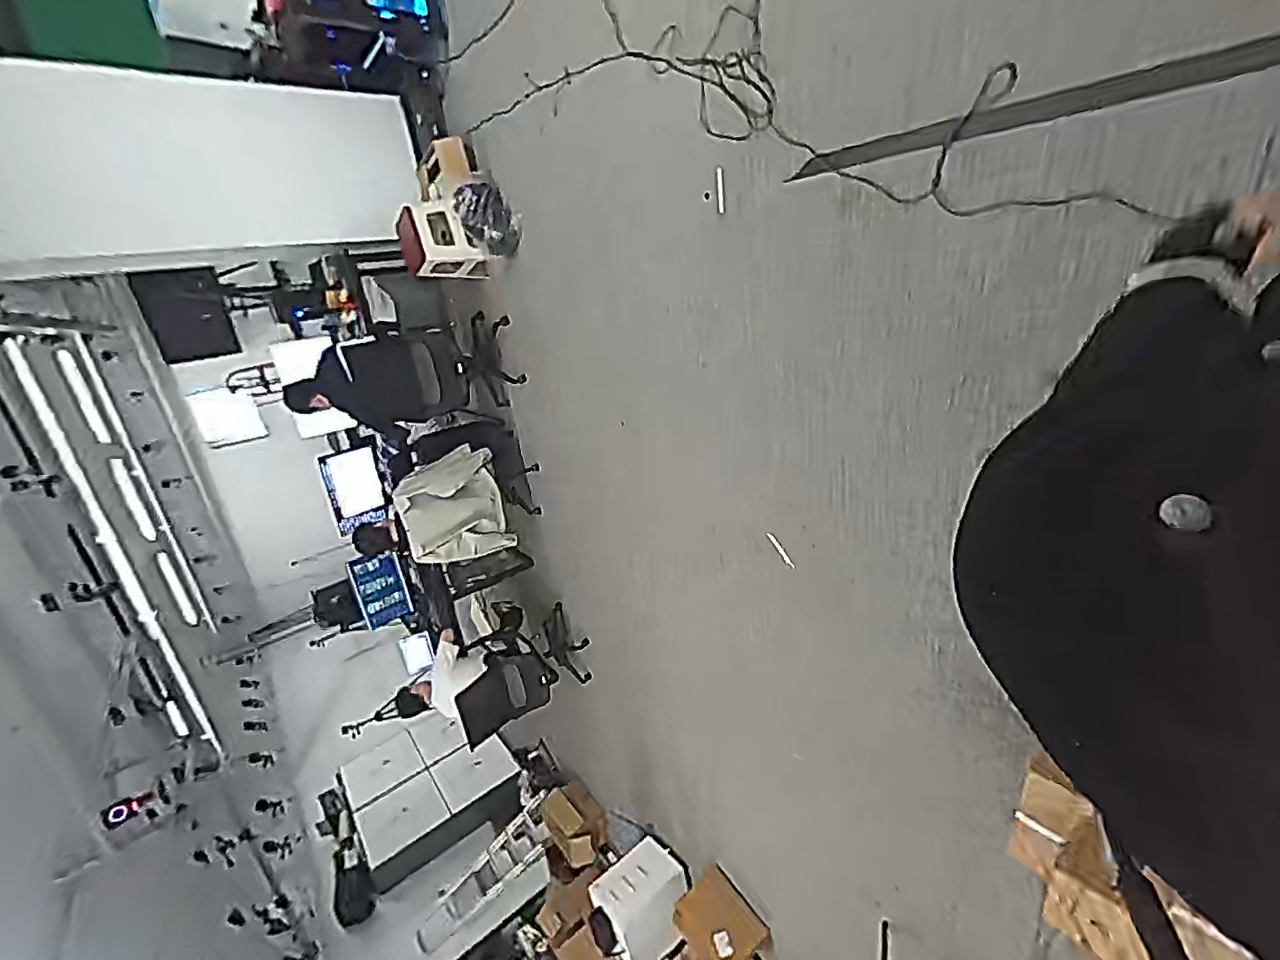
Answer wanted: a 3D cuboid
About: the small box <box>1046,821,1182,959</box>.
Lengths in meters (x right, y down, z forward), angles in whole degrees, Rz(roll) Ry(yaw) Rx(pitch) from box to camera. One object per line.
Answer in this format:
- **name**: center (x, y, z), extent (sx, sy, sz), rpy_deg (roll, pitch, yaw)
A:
- **small box**: center (1.006, 0.879, 1.148), extent (0.179, 0.176, 0.168), rpy_deg (18, 120, 51)
